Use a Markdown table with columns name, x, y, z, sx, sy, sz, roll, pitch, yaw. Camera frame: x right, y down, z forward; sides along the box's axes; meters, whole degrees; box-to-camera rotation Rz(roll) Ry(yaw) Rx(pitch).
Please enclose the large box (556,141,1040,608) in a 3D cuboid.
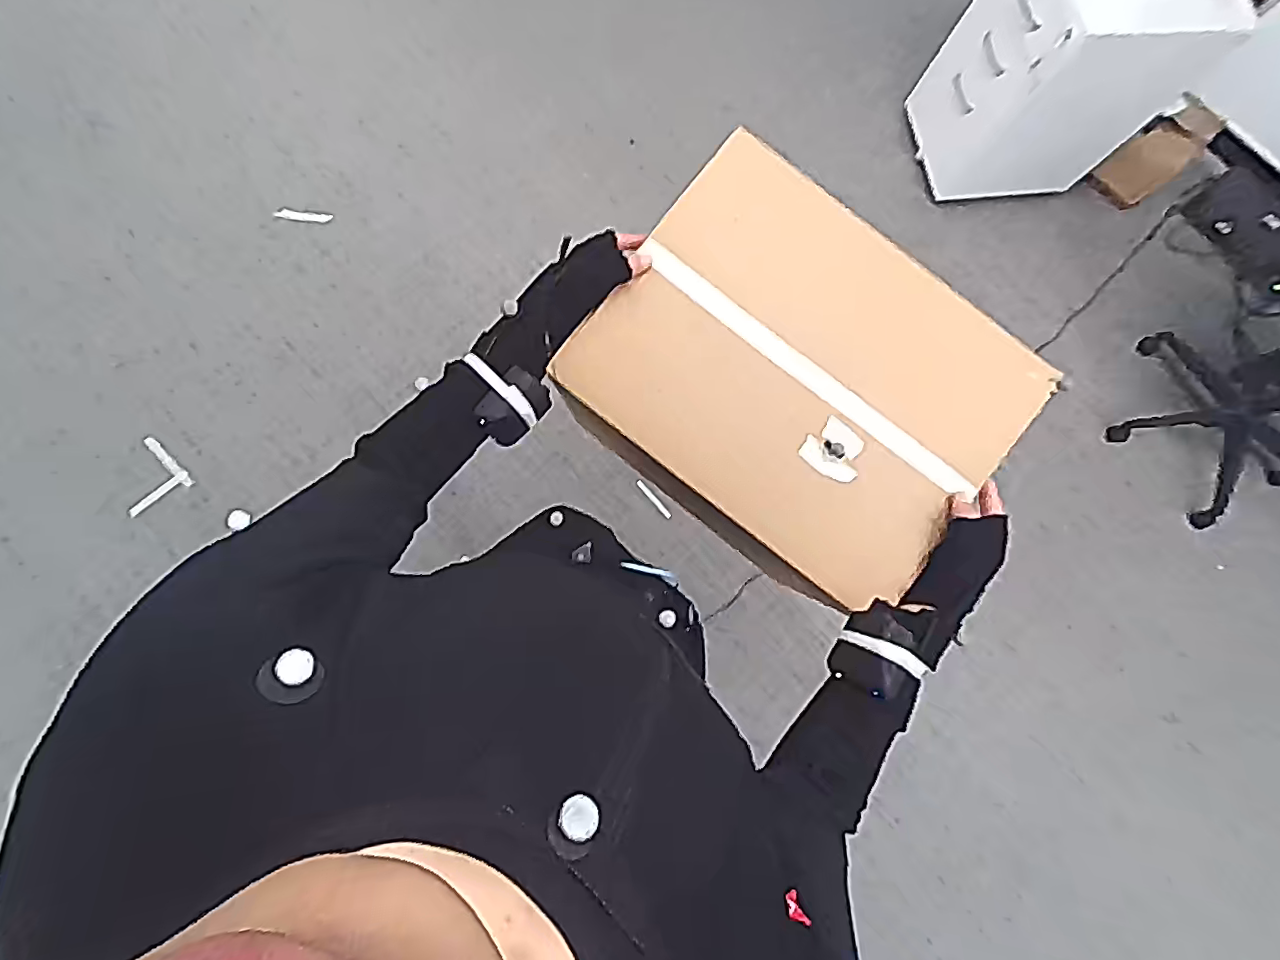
| name | x | y | z | sx | sy | sz | roll | pitch | yaw |
| --- | --- | --- | --- | --- | --- | --- | --- | --- | --- |
| large box | 0.154 | -0.103 | 0.688 | 0.408 | 0.320 | 0.320 | 38 | 88 | -1 |
